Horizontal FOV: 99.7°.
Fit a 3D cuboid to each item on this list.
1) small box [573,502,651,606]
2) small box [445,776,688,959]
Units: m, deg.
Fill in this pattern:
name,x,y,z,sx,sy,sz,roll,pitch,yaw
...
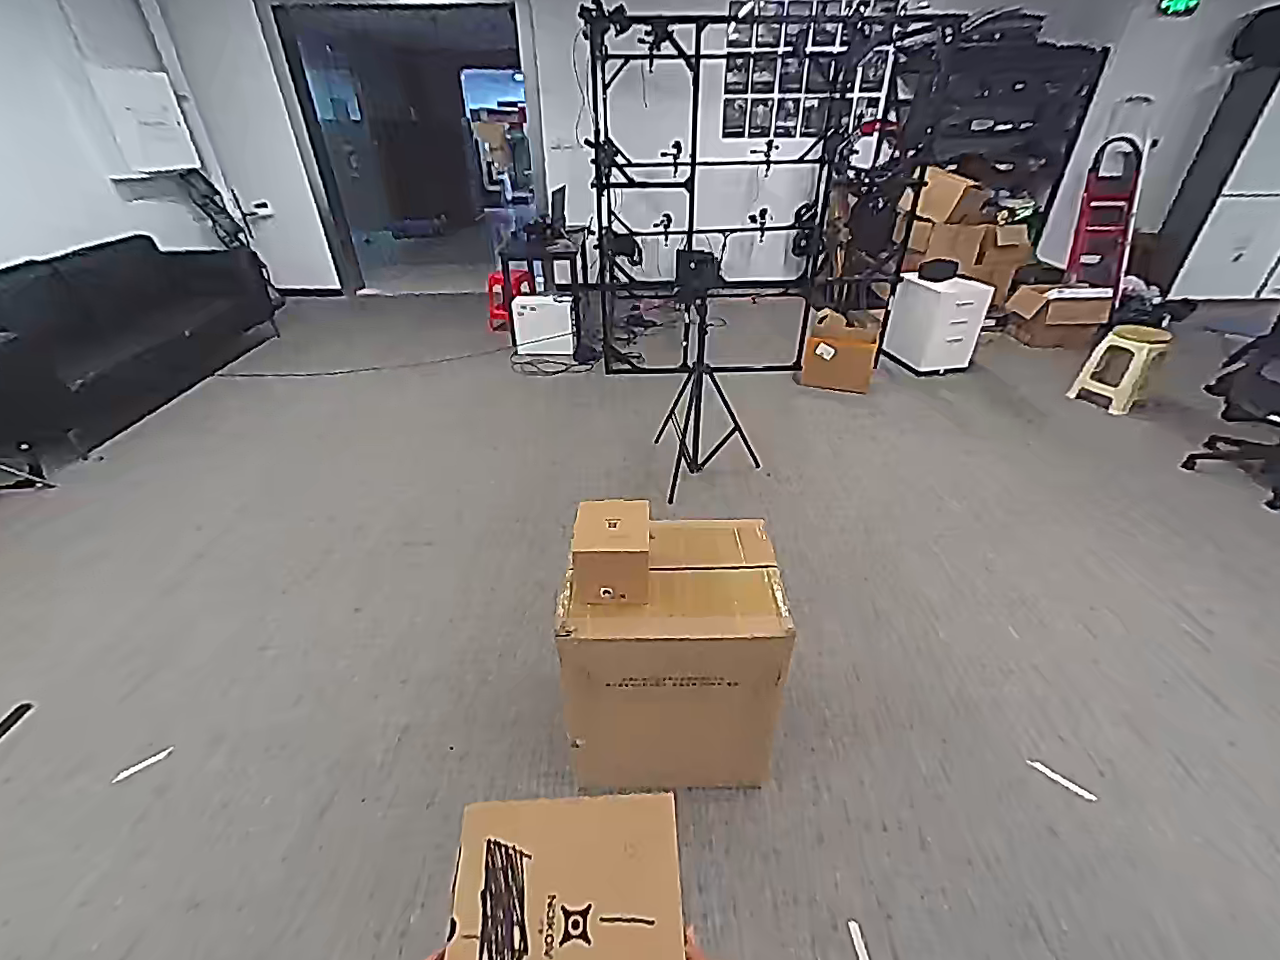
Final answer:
name,x,y,z,sx,sy,sz,roll,pitch,yaw
small box,-0.060,0.170,1.252,0.168,0.176,0.179,-1,36,0
small box,-0.051,0.371,0.461,0.179,0.176,0.168,-3,46,-1
